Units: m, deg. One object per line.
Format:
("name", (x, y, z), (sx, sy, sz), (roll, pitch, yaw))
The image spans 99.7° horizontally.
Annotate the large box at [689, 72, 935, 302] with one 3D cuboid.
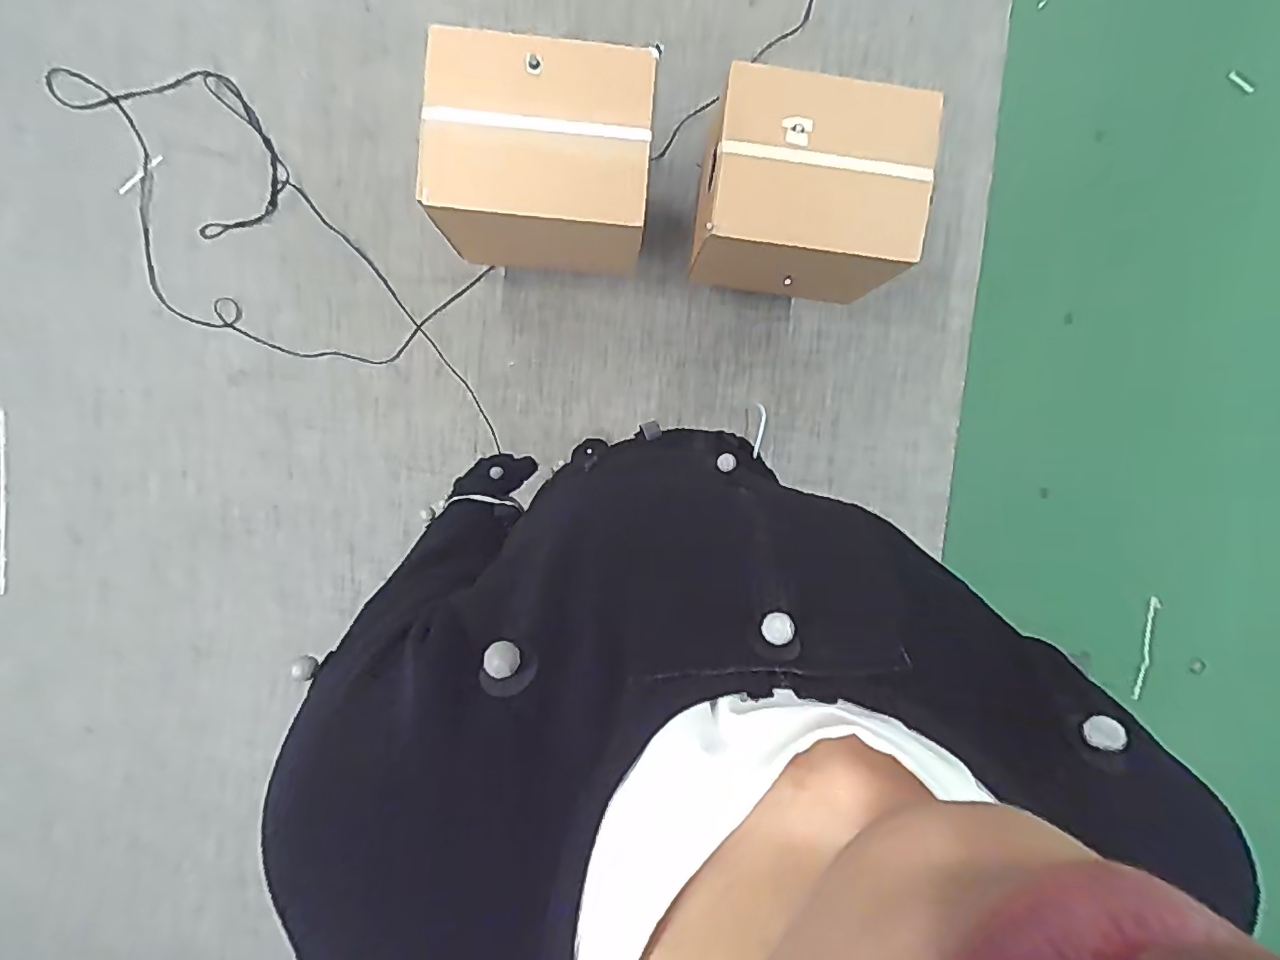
("large box", (0.339, -0.594, 1.164), (0.408, 0.320, 0.320), (7, 93, -3))
